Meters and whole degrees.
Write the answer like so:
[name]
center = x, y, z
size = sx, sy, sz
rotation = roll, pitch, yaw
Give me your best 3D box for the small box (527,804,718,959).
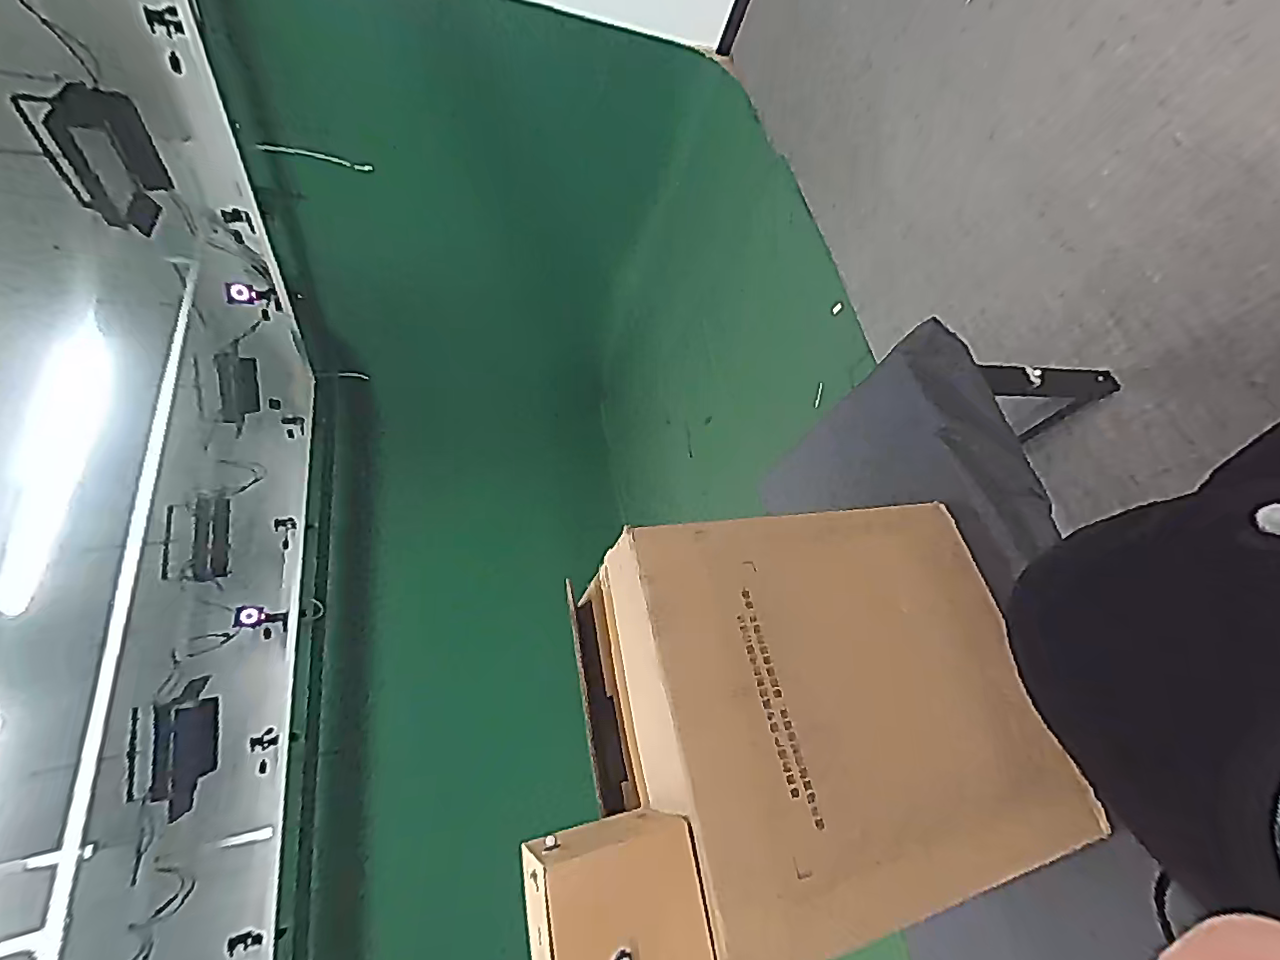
[small box]
center = -0.024, 0.506, 0.628
size = 0.168, 0.176, 0.179
rotation = 128, 133, -57
